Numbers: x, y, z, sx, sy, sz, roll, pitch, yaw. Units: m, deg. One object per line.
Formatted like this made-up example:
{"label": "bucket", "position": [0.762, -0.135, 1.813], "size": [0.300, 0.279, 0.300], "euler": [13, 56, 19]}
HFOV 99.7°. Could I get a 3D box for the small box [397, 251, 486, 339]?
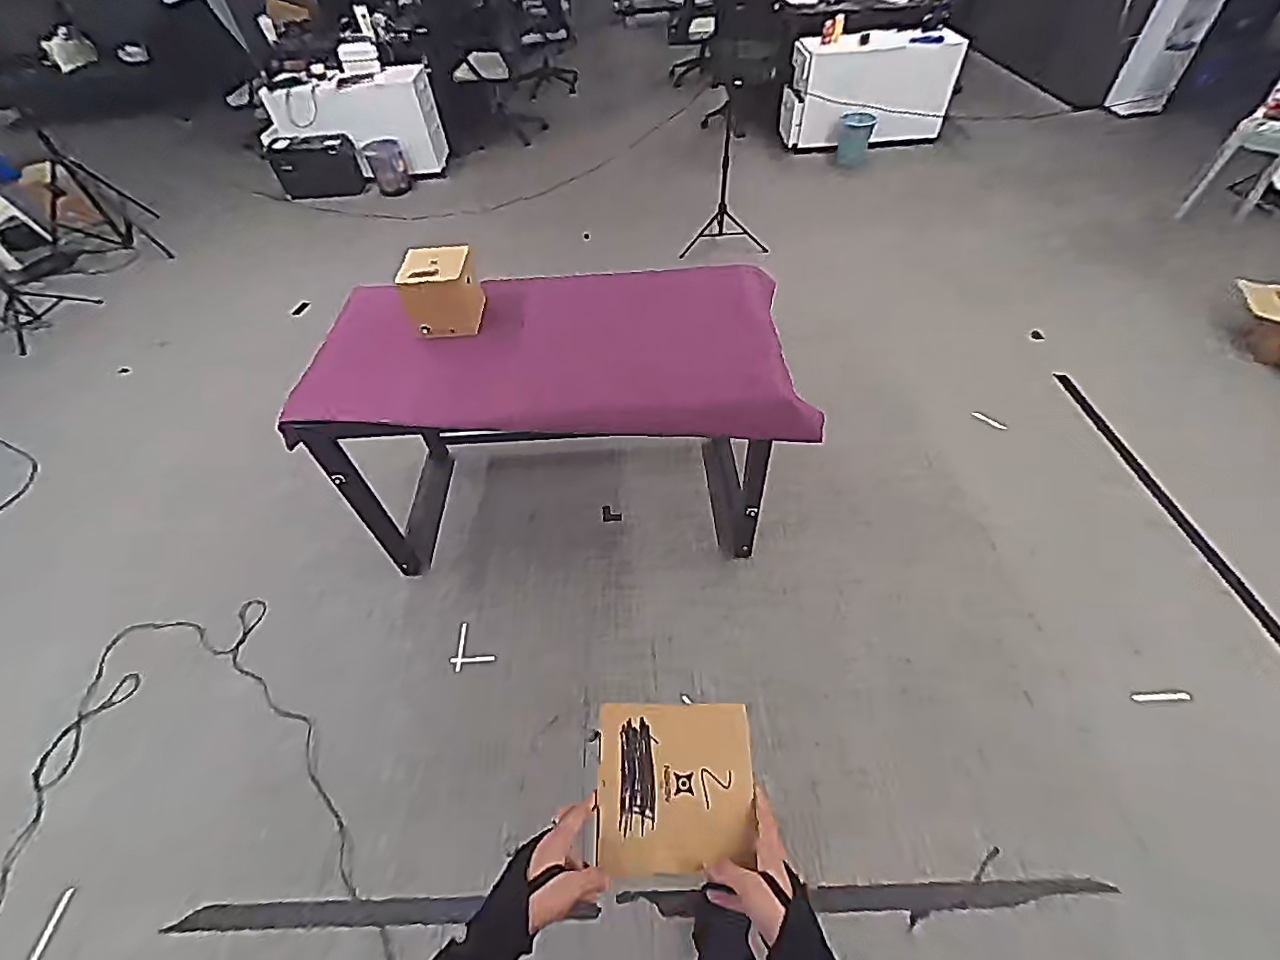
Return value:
{"label": "small box", "position": [-0.530, -0.497, 1.472], "size": [0.168, 0.176, 0.179], "euler": [-3, 50, 0]}
